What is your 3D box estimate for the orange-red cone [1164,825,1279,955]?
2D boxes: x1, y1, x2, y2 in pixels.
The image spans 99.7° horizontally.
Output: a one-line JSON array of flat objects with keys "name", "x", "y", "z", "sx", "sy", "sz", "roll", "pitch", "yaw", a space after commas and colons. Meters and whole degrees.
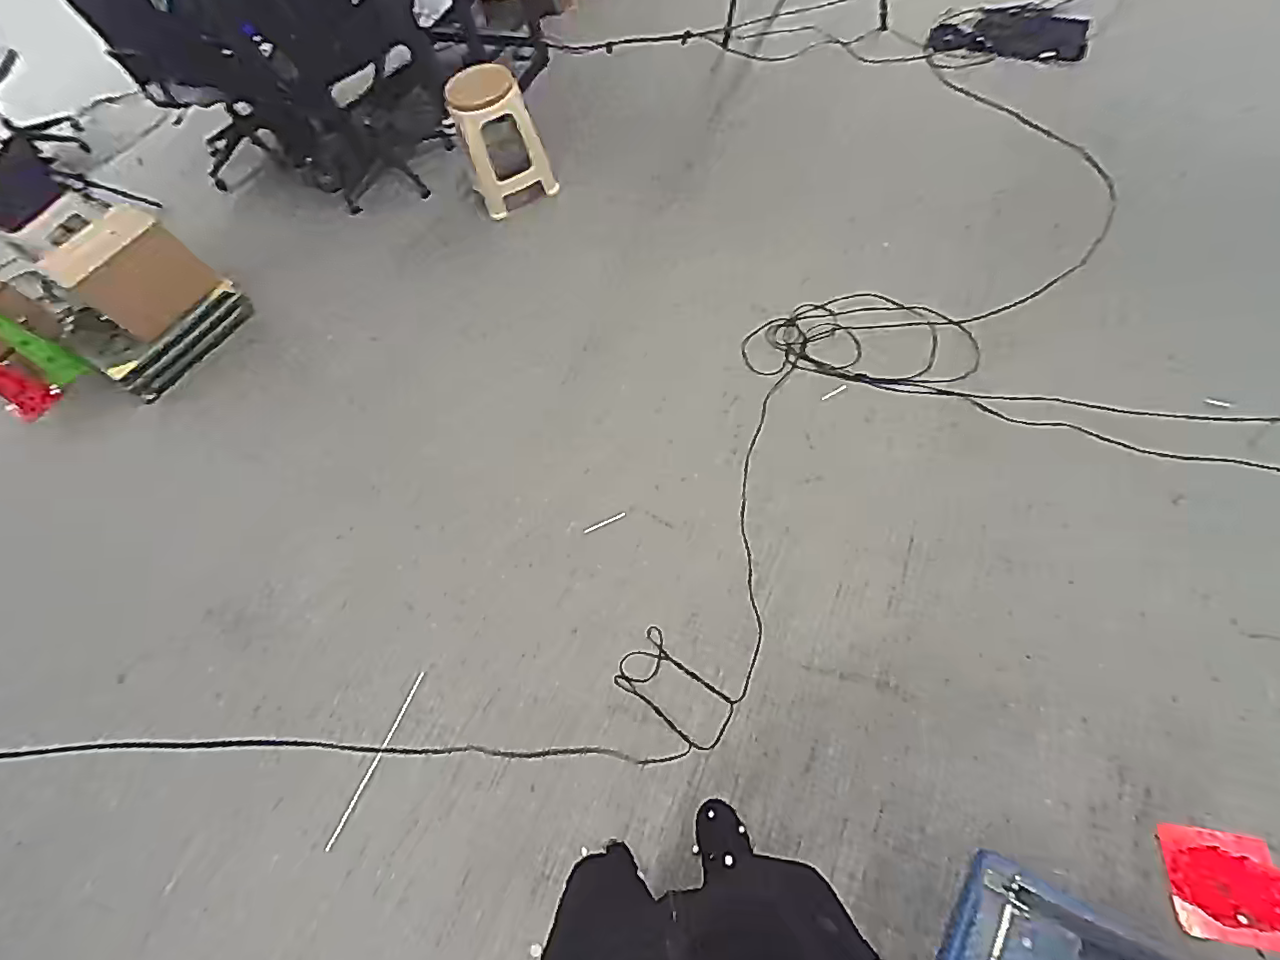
[{"name": "orange-red cone", "x": 1.200, "y": 0.771, "z": 0.978, "sx": 0.198, "sy": 0.360, "sz": 0.199, "roll": 5, "pitch": 63, "yaw": 11}]
